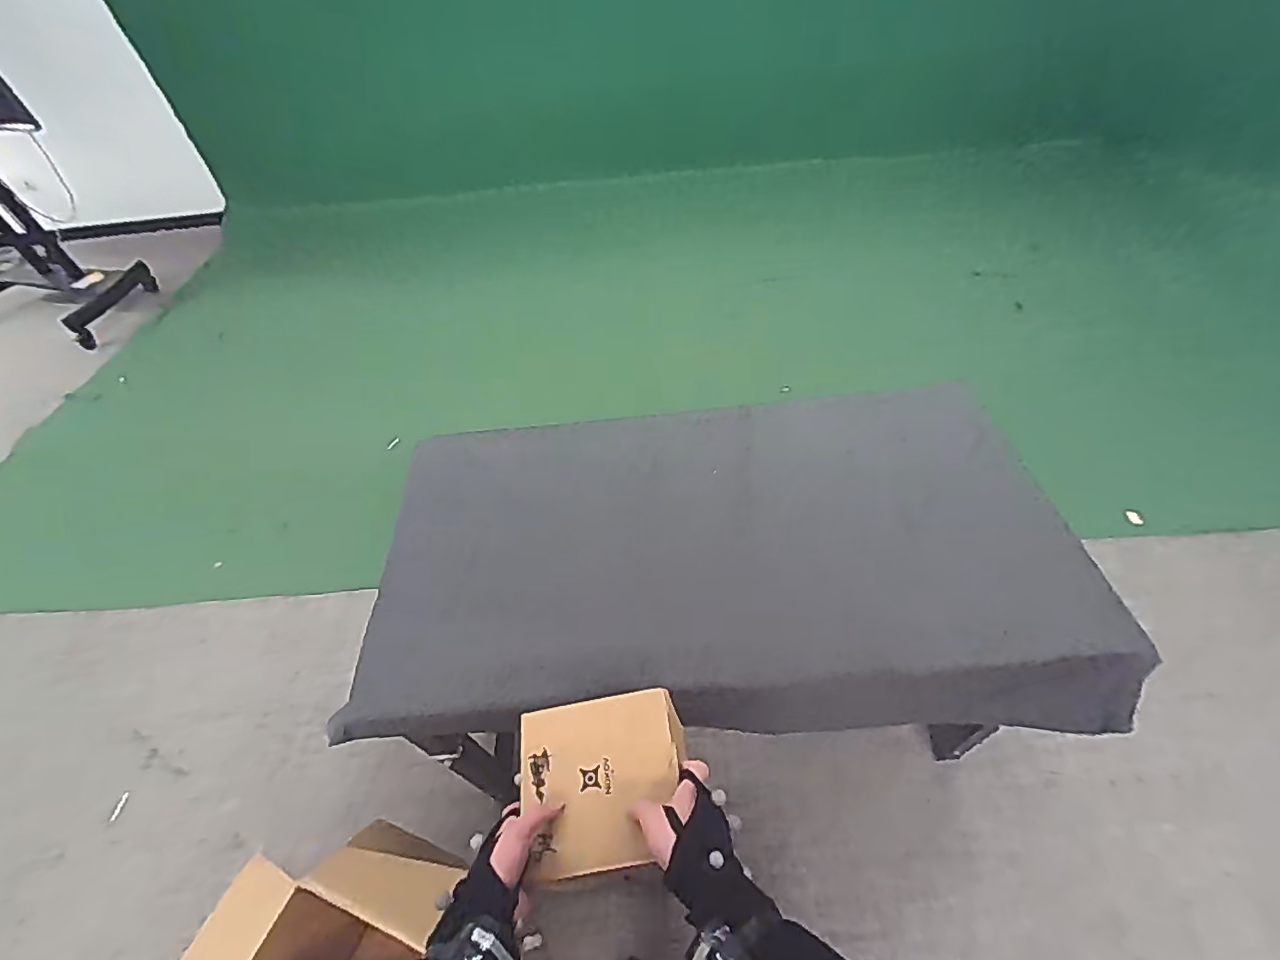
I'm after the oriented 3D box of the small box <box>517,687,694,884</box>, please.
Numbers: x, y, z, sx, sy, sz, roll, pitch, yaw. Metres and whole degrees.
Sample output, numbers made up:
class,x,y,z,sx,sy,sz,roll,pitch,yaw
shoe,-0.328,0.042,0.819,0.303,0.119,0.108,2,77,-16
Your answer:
class,x,y,z,sx,sy,sz,roll,pitch,yaw
small box,-0.034,0.363,0.638,0.179,0.176,0.168,-11,51,2
